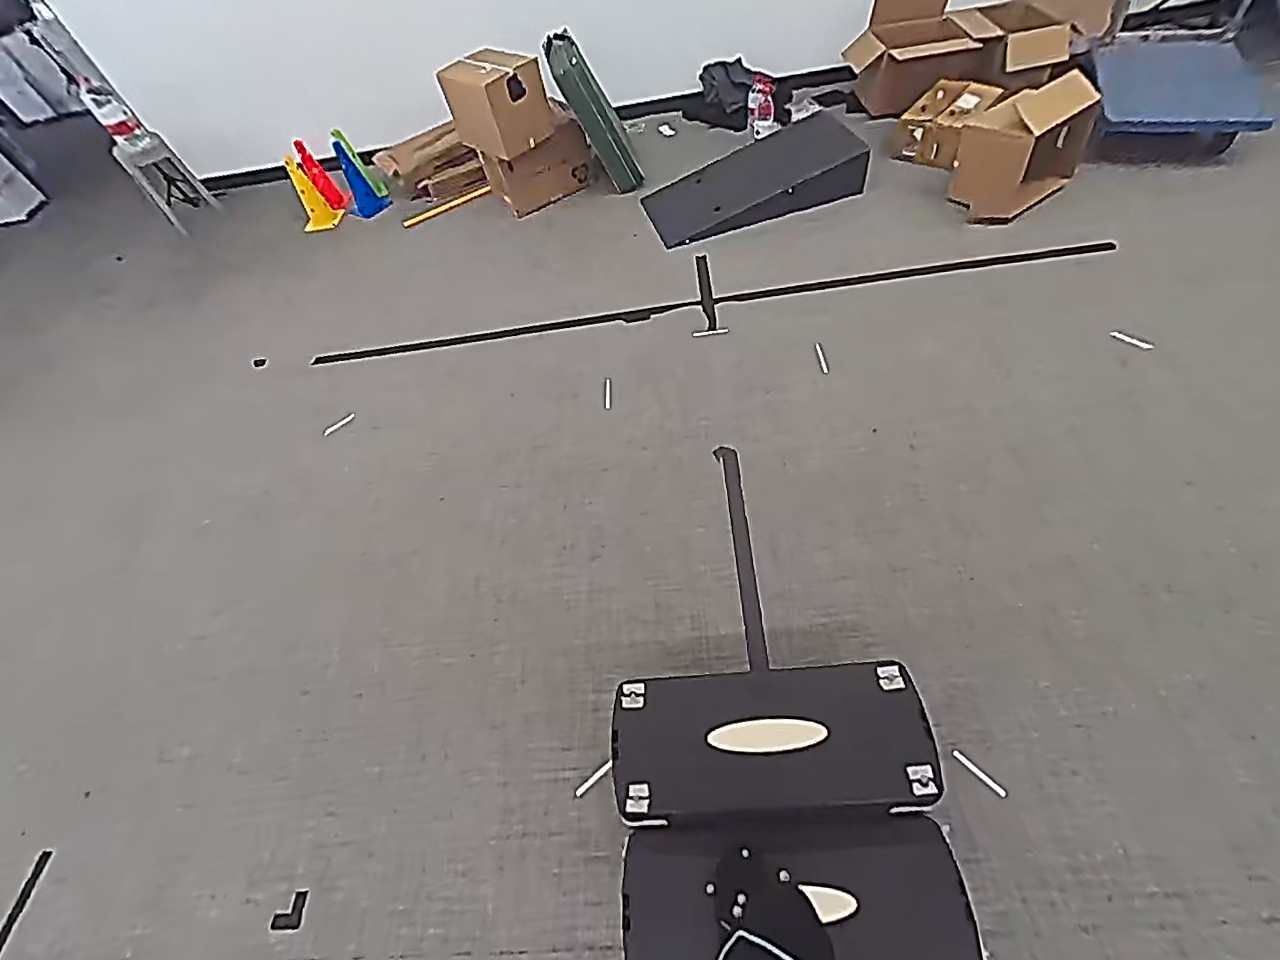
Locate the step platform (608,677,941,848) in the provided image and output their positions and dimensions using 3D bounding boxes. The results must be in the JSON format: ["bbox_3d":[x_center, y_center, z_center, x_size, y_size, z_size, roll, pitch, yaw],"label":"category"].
[{"bbox_3d":[0.270,0.621,1.193,0.684,0.204,0.286,-7,55,4],"label":"step platform"}]
